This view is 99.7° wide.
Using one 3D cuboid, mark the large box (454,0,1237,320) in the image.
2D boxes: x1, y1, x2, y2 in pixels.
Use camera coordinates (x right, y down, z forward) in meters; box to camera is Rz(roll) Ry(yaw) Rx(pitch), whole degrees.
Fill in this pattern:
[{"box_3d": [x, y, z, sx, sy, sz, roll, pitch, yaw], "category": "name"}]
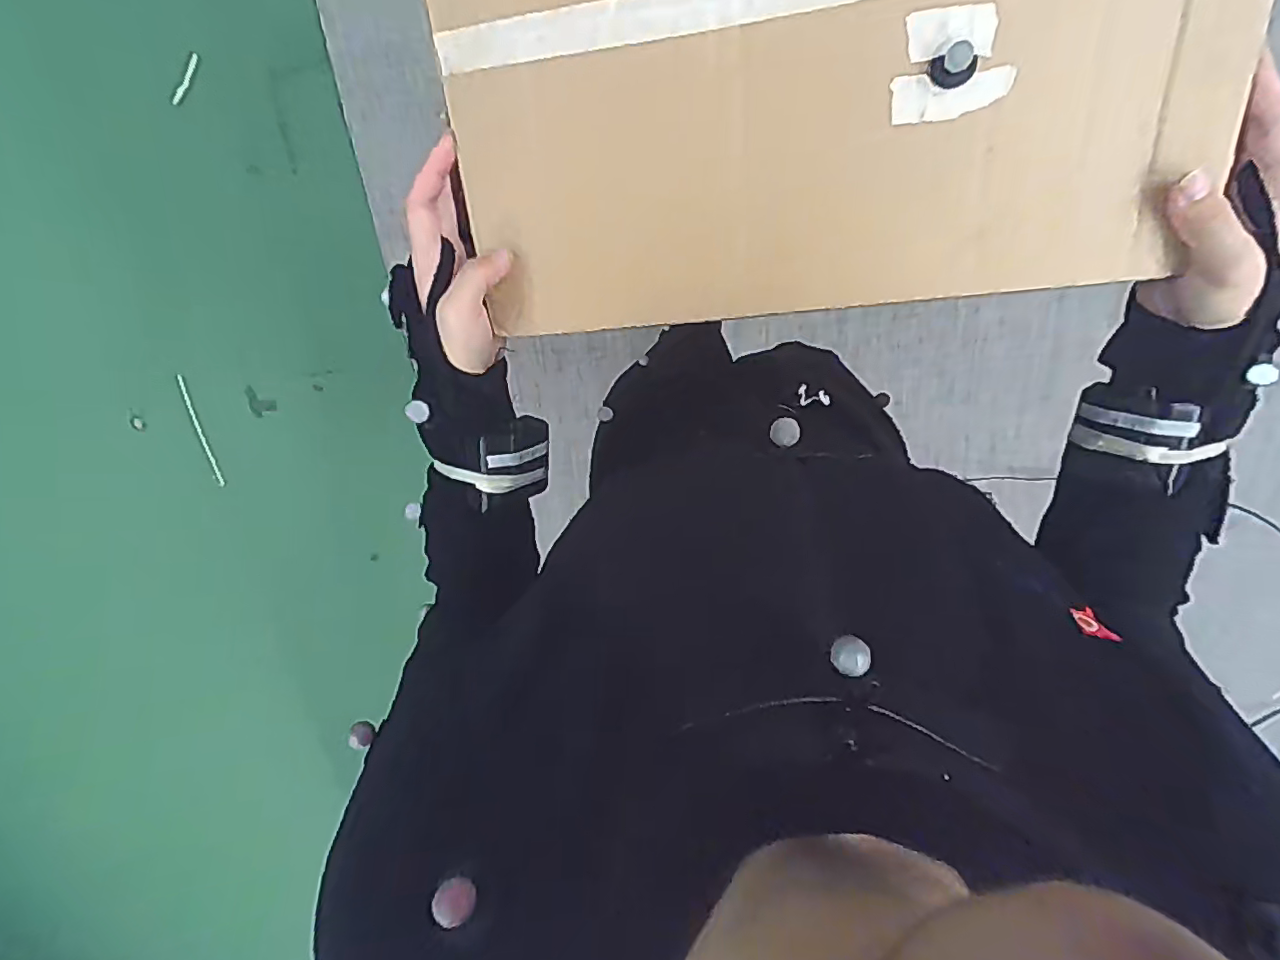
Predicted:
[{"box_3d": [0.108, -0.313, 0.420, 0.408, 0.320, 0.320, -3, 110, 8], "category": "large box"}]
